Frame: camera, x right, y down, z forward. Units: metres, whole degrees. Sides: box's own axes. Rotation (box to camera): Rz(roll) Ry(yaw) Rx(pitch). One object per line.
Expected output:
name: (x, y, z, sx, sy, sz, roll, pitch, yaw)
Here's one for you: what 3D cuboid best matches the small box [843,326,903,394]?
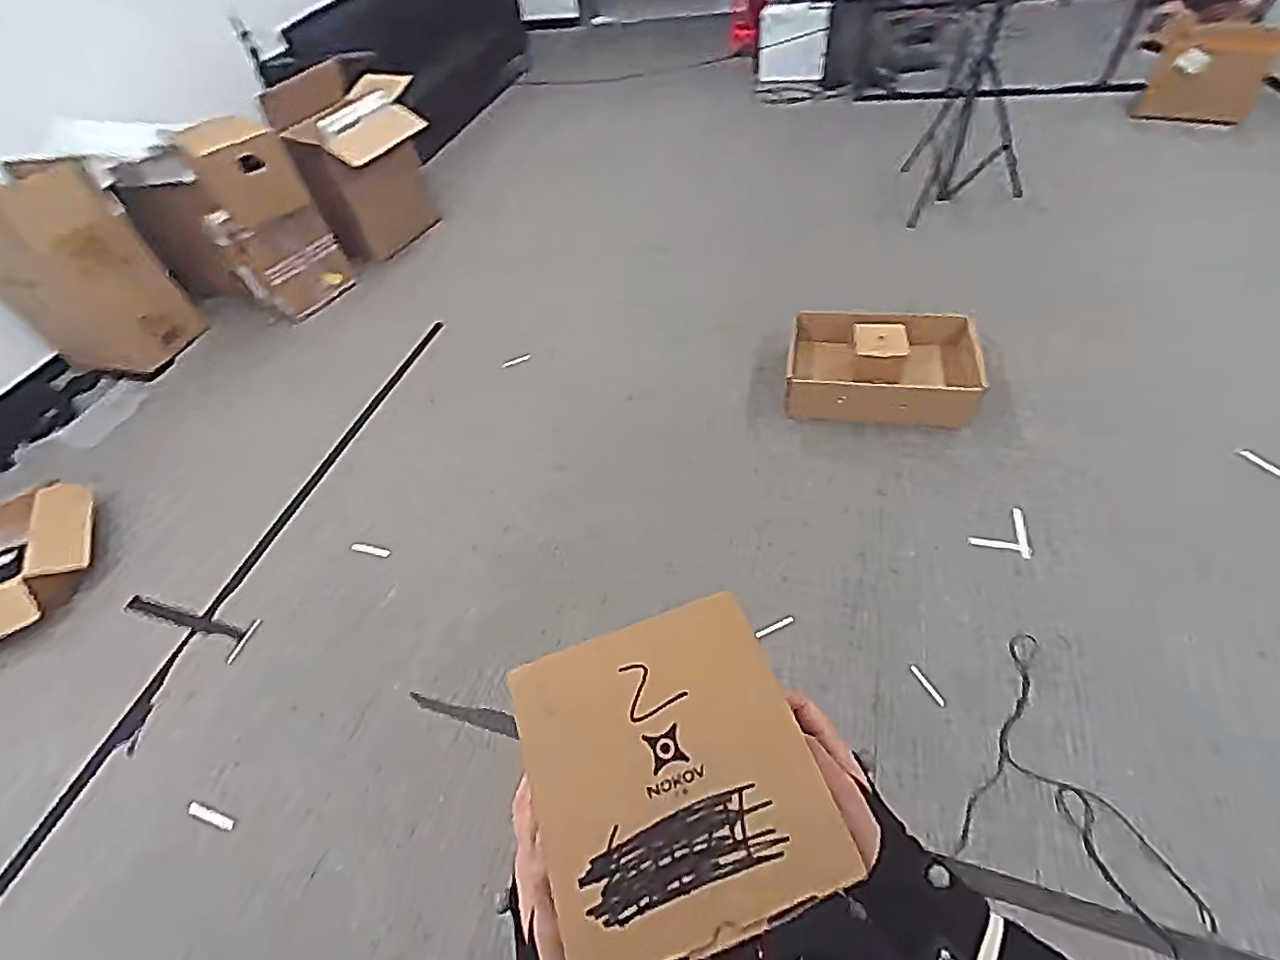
small box: (0.836, -0.434, 1.951, 0.168, 0.176, 0.179, 4, 53, 12)
